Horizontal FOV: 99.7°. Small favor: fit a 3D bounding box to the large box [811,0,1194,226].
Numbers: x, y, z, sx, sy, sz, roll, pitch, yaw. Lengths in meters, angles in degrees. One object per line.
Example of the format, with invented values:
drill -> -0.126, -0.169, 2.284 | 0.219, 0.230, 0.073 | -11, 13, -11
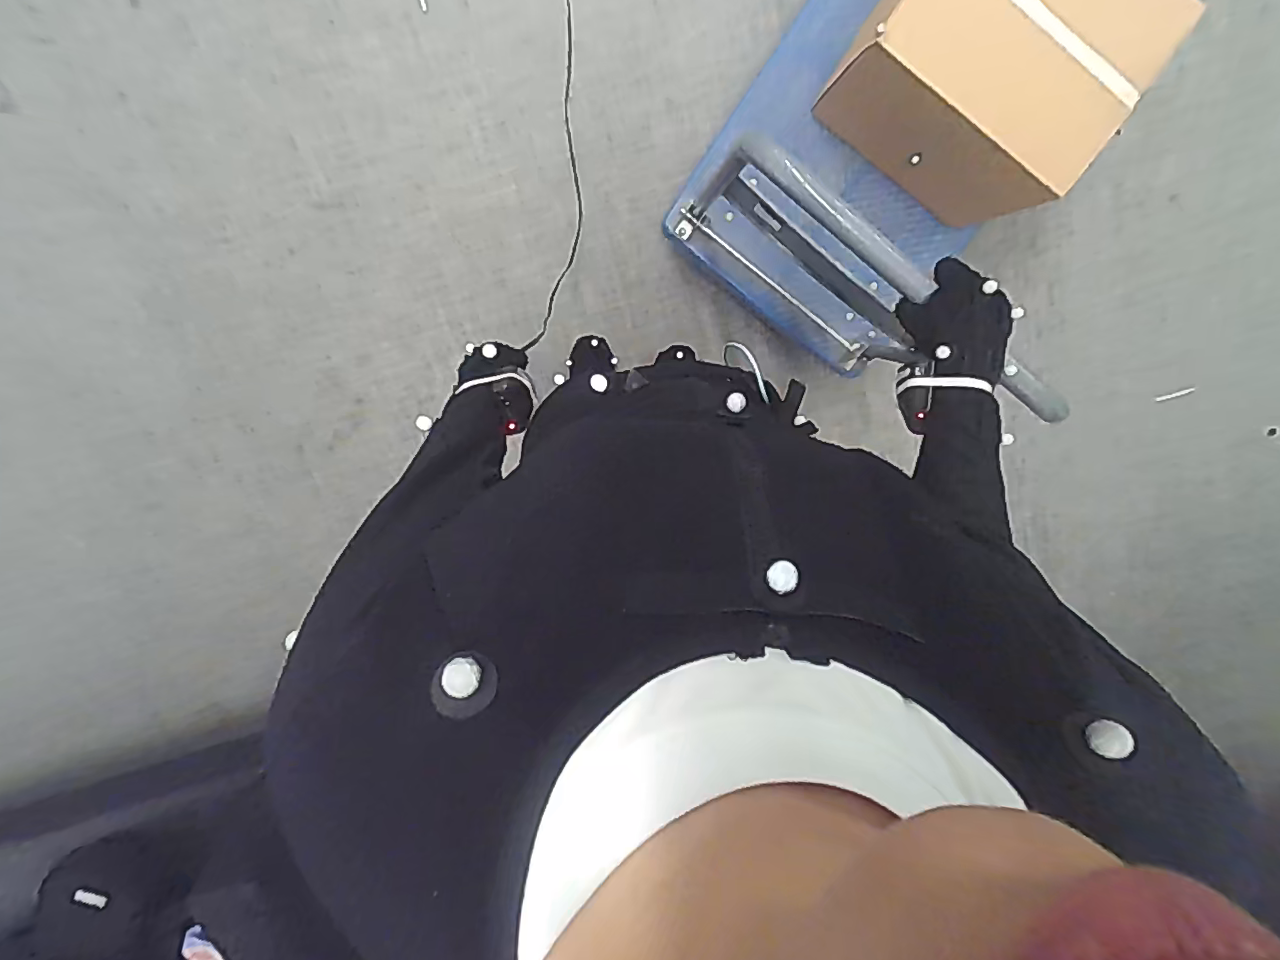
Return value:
large box -> 0.594, -0.721, 0.965 | 0.408, 0.320, 0.320 | 31, 103, -9
